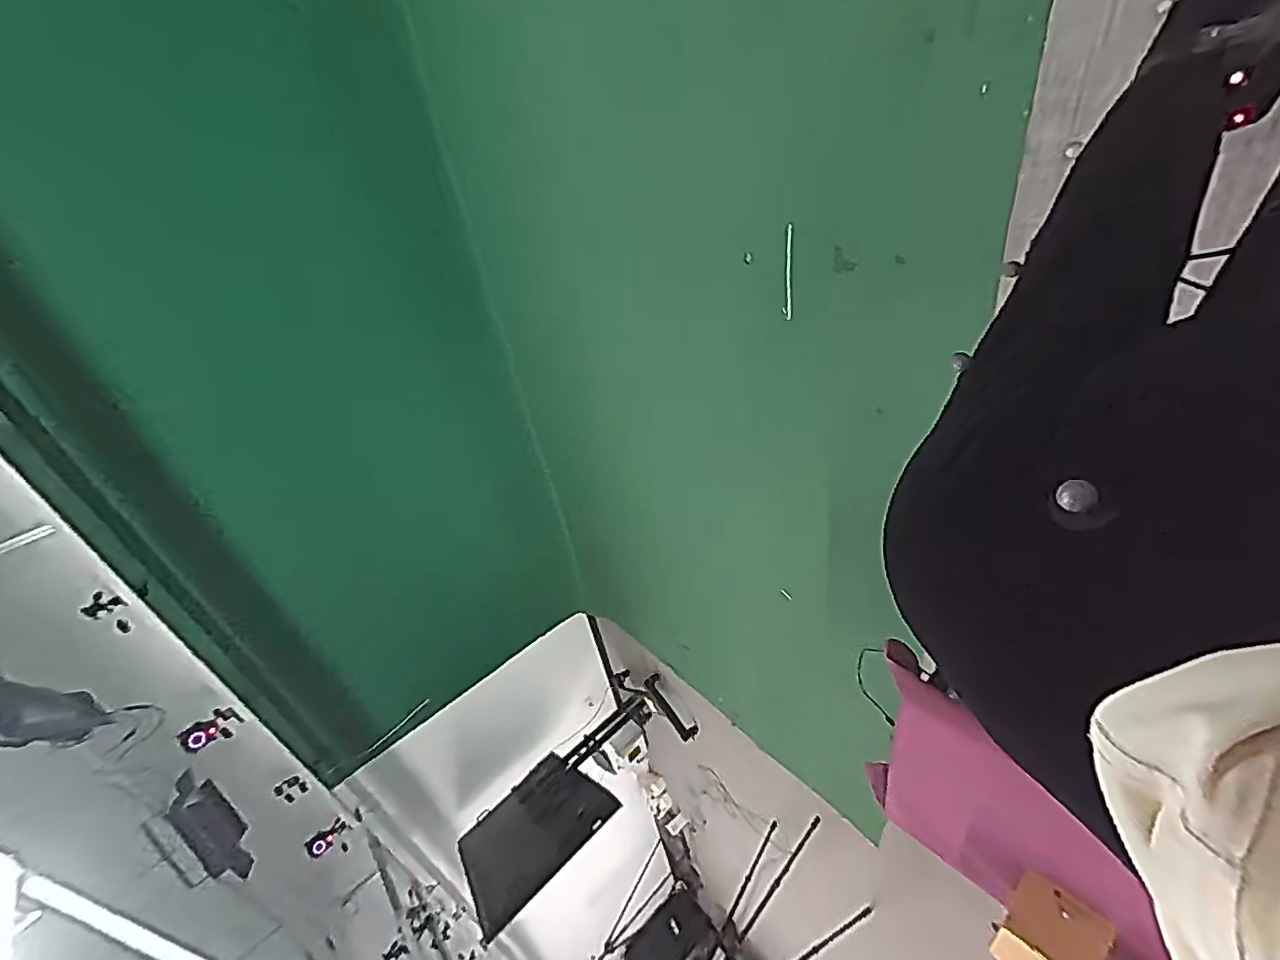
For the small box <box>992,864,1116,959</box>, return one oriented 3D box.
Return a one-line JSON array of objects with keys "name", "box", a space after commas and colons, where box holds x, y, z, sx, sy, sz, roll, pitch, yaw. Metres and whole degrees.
[{"name": "small box", "box": [0.954, 1.048, 1.248, 0.168, 0.176, 0.179, 27, 139, 44]}]
